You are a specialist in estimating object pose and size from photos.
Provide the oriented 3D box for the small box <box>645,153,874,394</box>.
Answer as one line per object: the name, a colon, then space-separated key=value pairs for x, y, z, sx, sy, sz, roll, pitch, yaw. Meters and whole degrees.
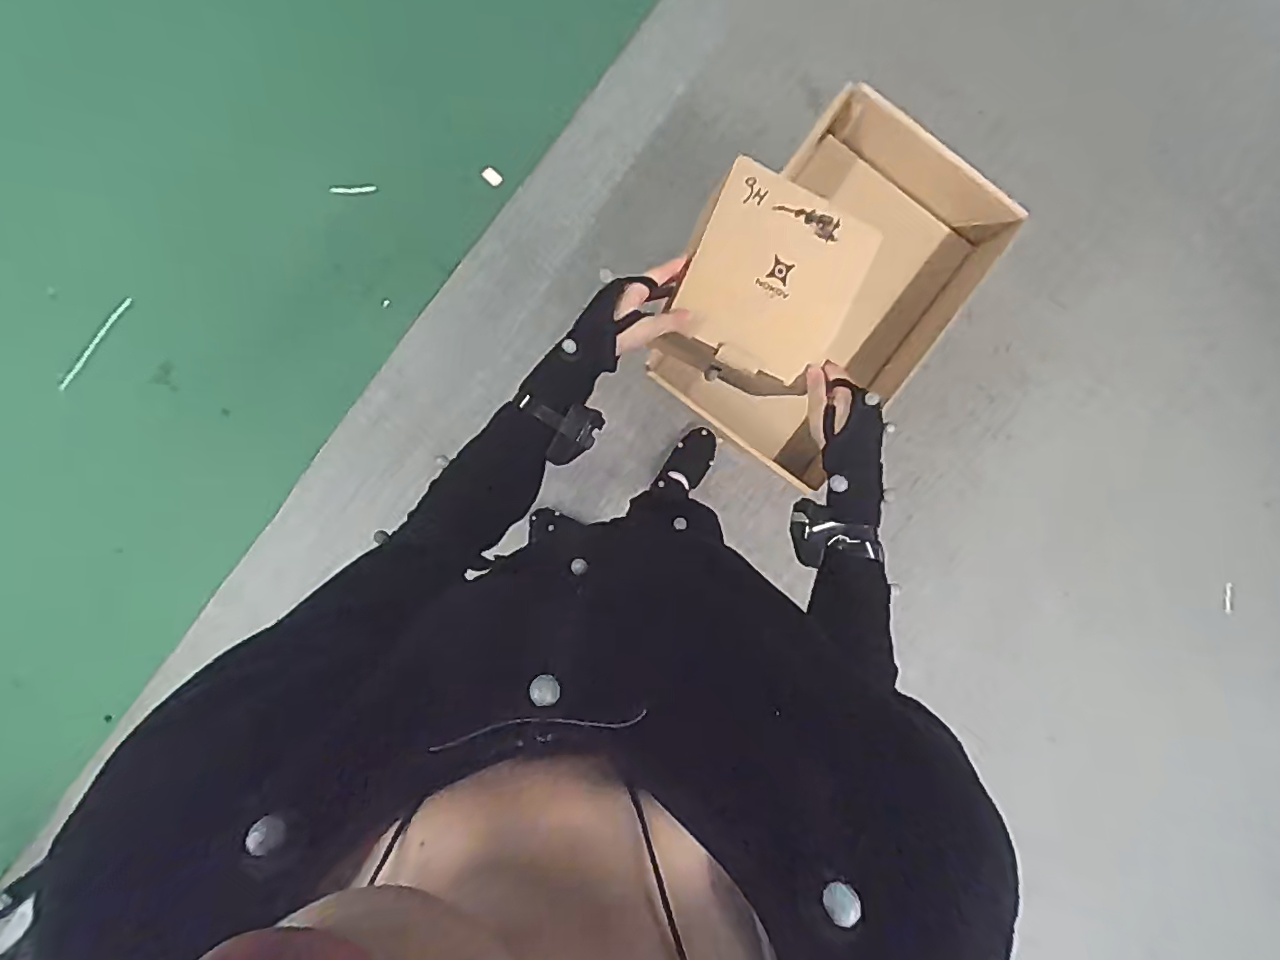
small box: x=0.114 y=-0.208 z=0.600 sx=0.168 sy=0.176 sz=0.179 roll=23 pitch=96 yaw=-10
